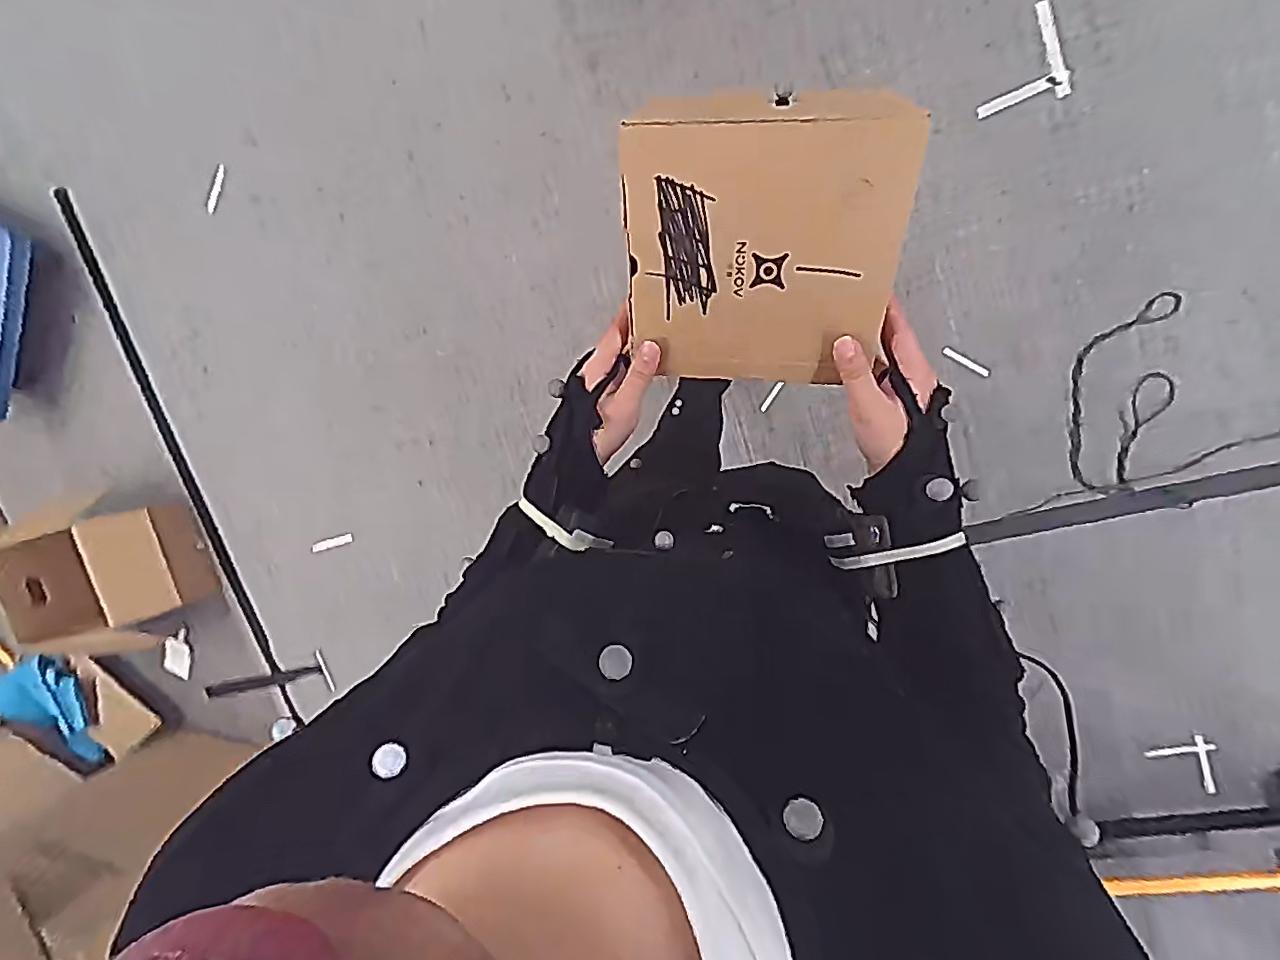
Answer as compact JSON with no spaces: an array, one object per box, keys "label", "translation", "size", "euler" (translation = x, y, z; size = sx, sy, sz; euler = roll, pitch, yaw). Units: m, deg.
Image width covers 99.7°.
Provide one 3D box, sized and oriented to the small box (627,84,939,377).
[{"label":"small box","translation":[0.094,-0.197,0.416],"size":[0.179,0.176,0.168],"euler":[6,130,9]}]
